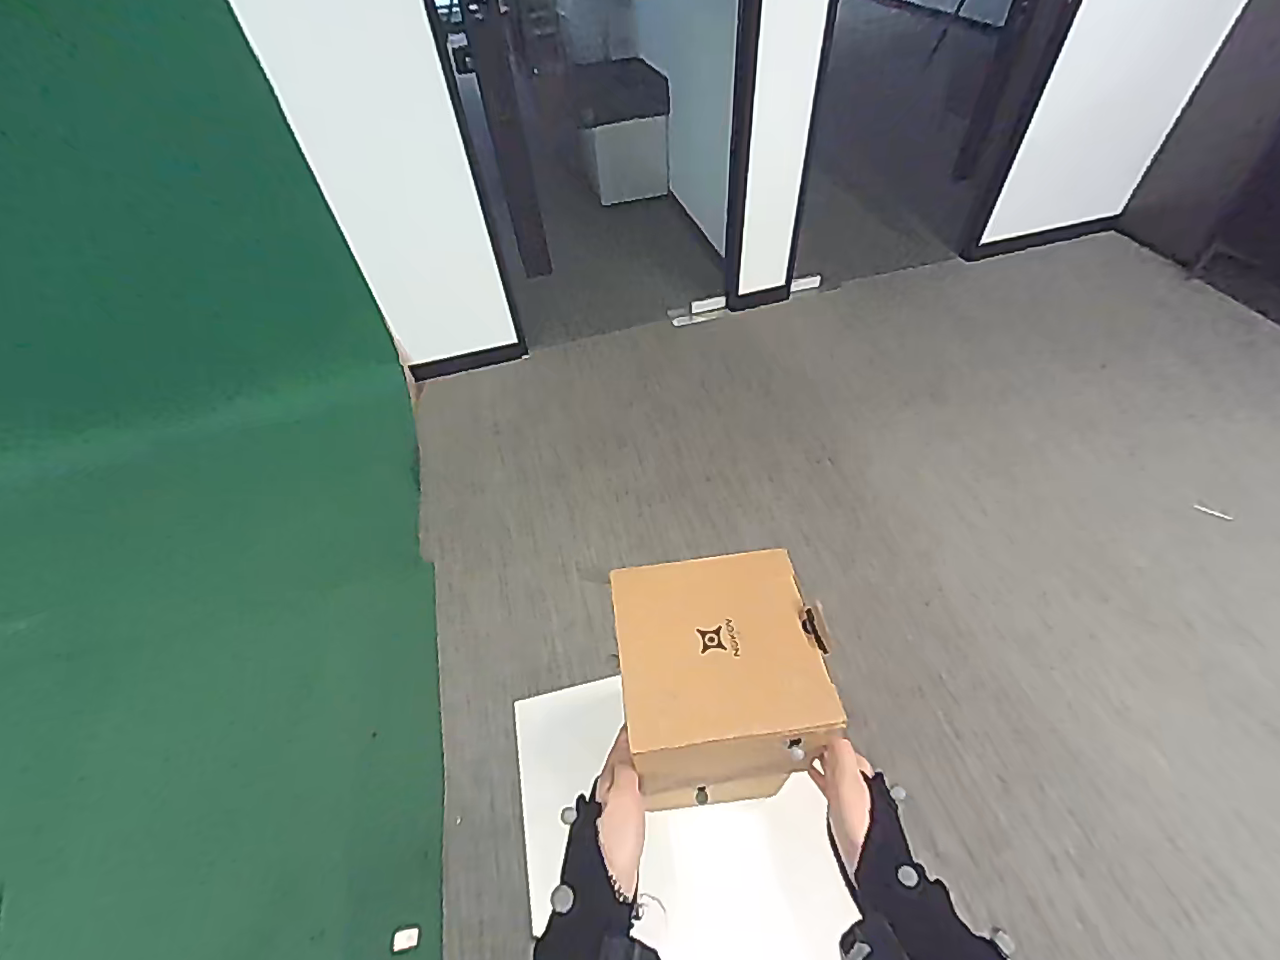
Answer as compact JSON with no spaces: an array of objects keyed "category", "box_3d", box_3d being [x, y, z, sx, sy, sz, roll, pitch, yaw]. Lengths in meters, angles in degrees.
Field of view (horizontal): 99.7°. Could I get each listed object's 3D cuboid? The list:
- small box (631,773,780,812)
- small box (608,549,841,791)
[{"category":"small box","box_3d":[0.077,0.307,0.686,0.179,0.176,0.168,-7,50,-1]},{"category":"small box","box_3d":[0.067,0.190,0.531,0.179,0.176,0.168,-6,50,-4]}]
